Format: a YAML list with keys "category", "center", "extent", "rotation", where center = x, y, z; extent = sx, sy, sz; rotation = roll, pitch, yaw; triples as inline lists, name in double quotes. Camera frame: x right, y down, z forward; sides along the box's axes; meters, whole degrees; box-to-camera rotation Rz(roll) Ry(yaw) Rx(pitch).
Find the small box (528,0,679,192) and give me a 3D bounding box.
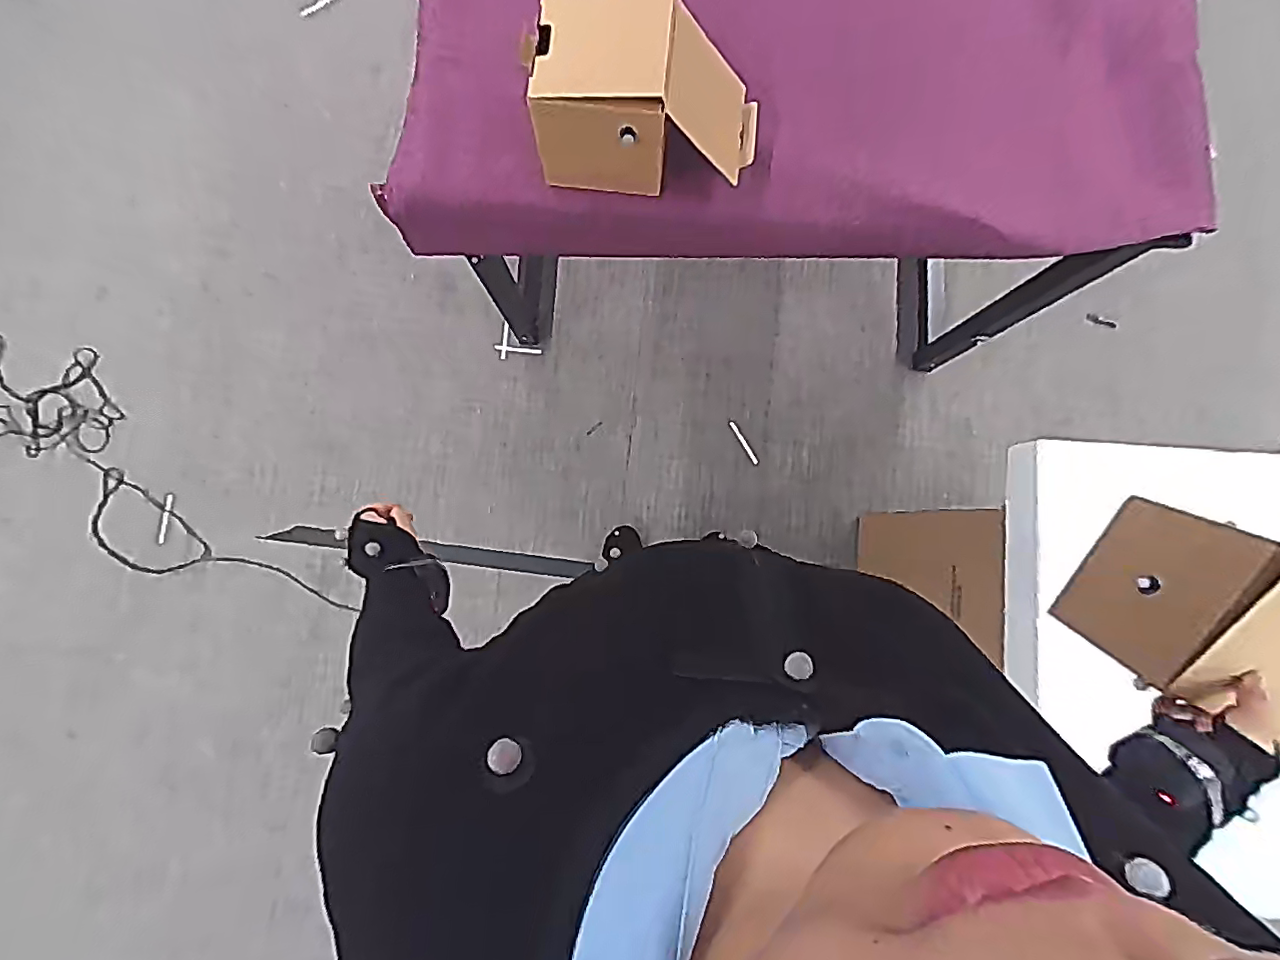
- category: "small box"
  center: [-0.046, -0.536, 0.762]
  extent: [0.179, 0.176, 0.168]
  rotation: [6, 83, 1]
